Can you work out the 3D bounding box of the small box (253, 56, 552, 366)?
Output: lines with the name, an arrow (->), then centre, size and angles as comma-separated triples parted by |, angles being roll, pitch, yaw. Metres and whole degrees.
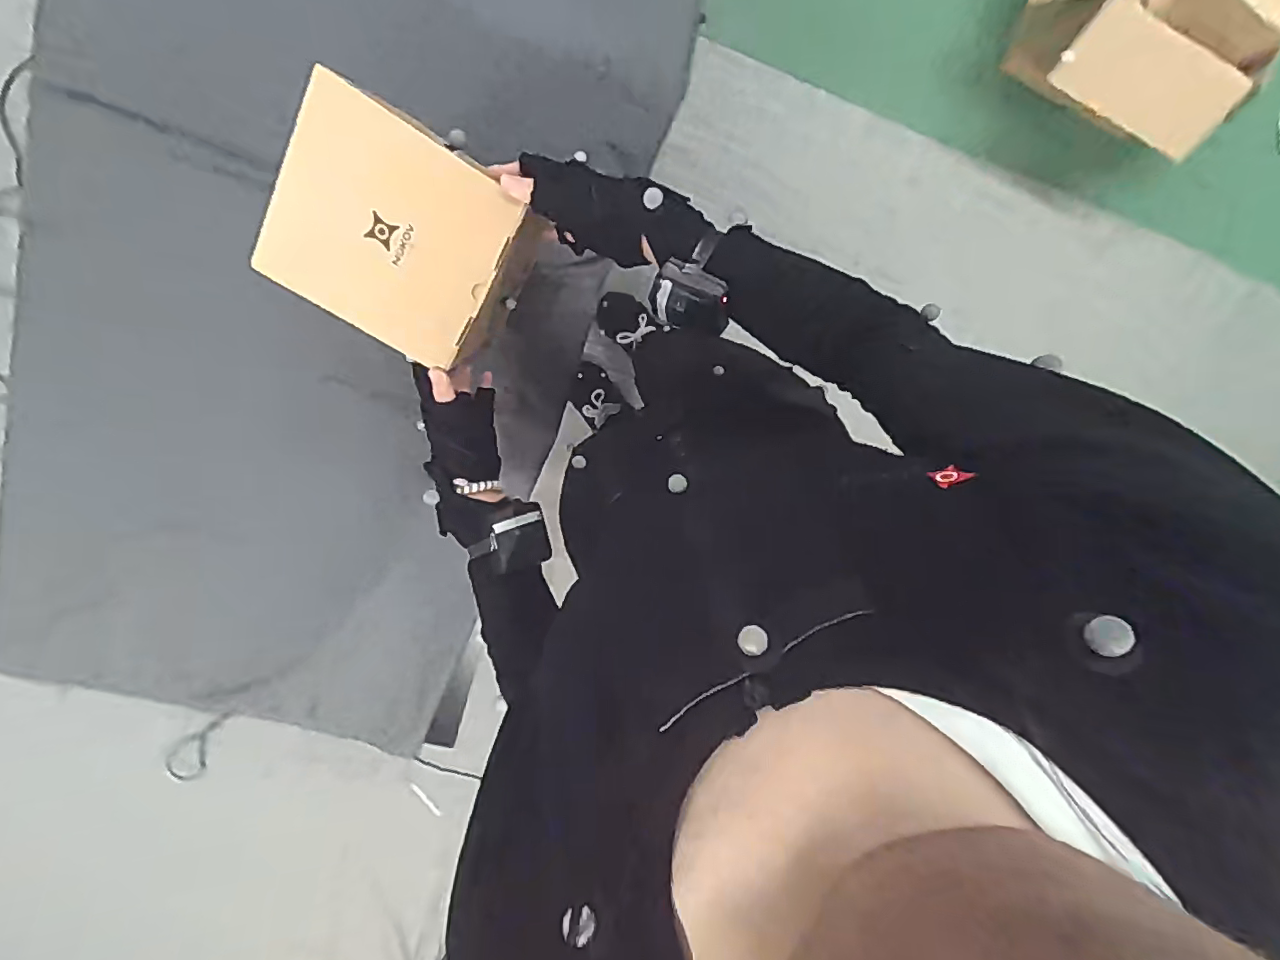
small box -> -0.201, -0.233, 0.507 | 0.179, 0.176, 0.168 | 30, 108, -15
